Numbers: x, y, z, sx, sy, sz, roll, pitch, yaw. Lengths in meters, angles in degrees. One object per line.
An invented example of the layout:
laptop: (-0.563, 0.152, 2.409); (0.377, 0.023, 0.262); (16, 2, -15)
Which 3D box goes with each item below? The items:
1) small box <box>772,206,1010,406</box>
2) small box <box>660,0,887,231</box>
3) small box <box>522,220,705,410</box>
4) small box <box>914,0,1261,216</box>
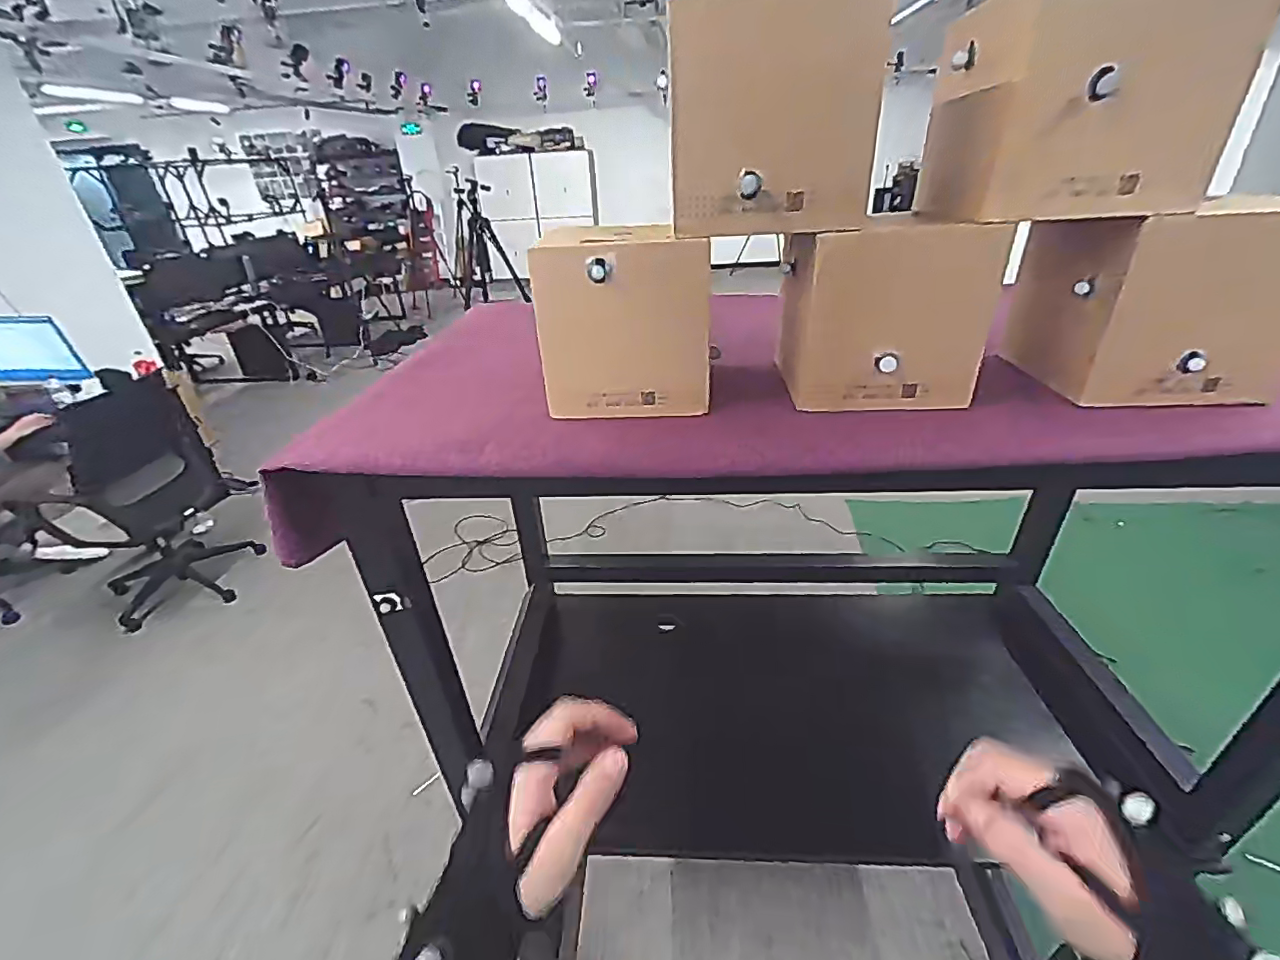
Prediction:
small box: (0.236, -0.186, 0.566); (0.168, 0.176, 0.179); (-1, 30, 5)
small box: (0.107, -0.328, 0.497); (0.168, 0.176, 0.179); (0, 30, 7)
small box: (-0.017, -0.182, 0.583); (0.168, 0.176, 0.179); (-1, 29, 4)
small box: (0.364, -0.326, 0.472); (0.168, 0.176, 0.179); (0, 29, 6)
